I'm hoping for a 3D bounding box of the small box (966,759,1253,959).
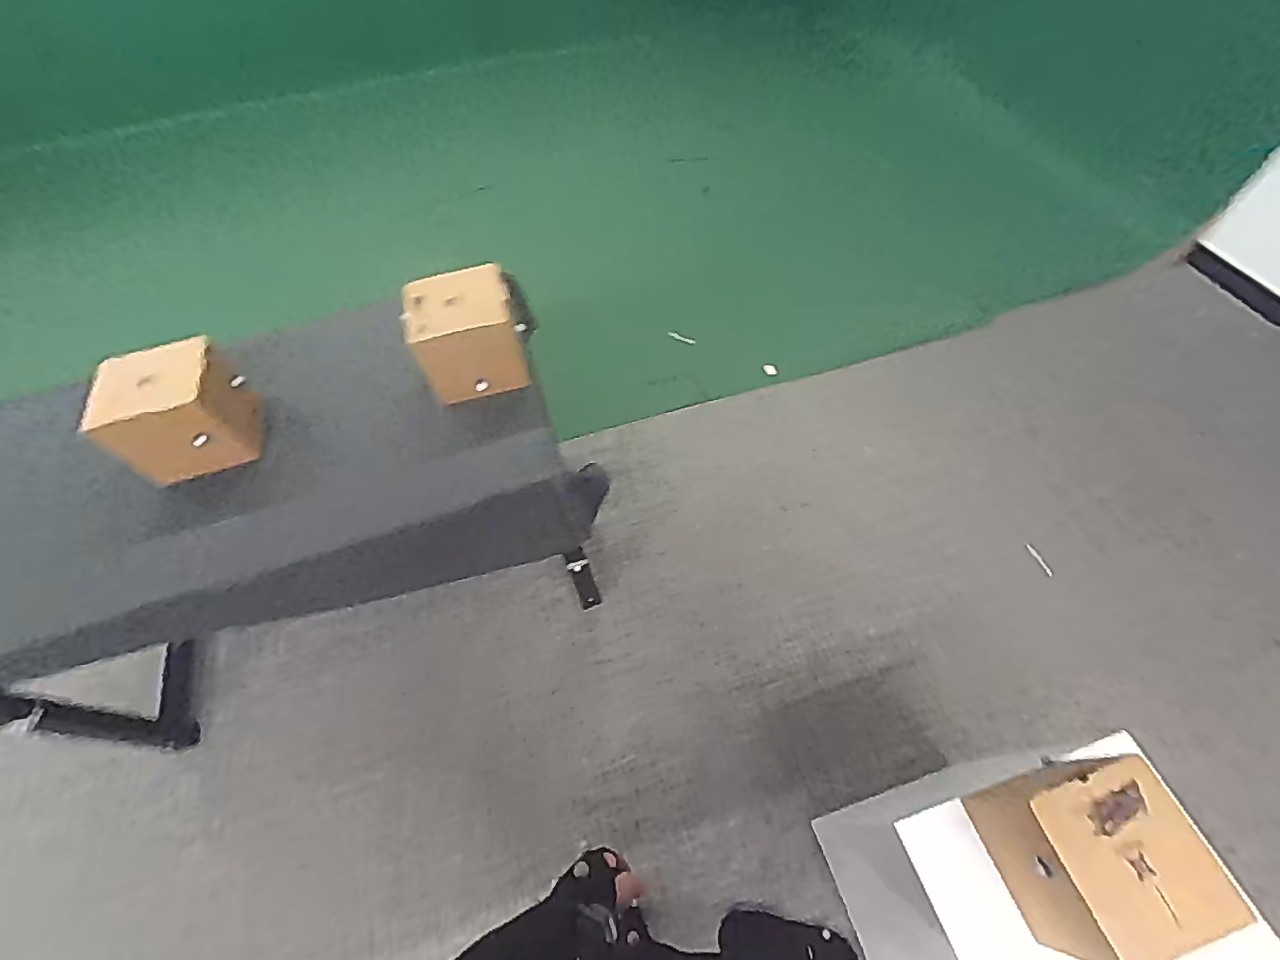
[{"bbox_3d":[0.560,0.474,0.680,0.168,0.176,0.179,-15,61,-7],"label":"small box"}]

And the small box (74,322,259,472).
[{"bbox_3d":[-0.808,-0.141,0.948,0.179,0.176,0.168,-17,58,-7],"label":"small box"}]

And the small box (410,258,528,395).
[{"bbox_3d":[-0.314,-0.284,1.017,0.179,0.176,0.168,-13,59,-6],"label":"small box"}]
